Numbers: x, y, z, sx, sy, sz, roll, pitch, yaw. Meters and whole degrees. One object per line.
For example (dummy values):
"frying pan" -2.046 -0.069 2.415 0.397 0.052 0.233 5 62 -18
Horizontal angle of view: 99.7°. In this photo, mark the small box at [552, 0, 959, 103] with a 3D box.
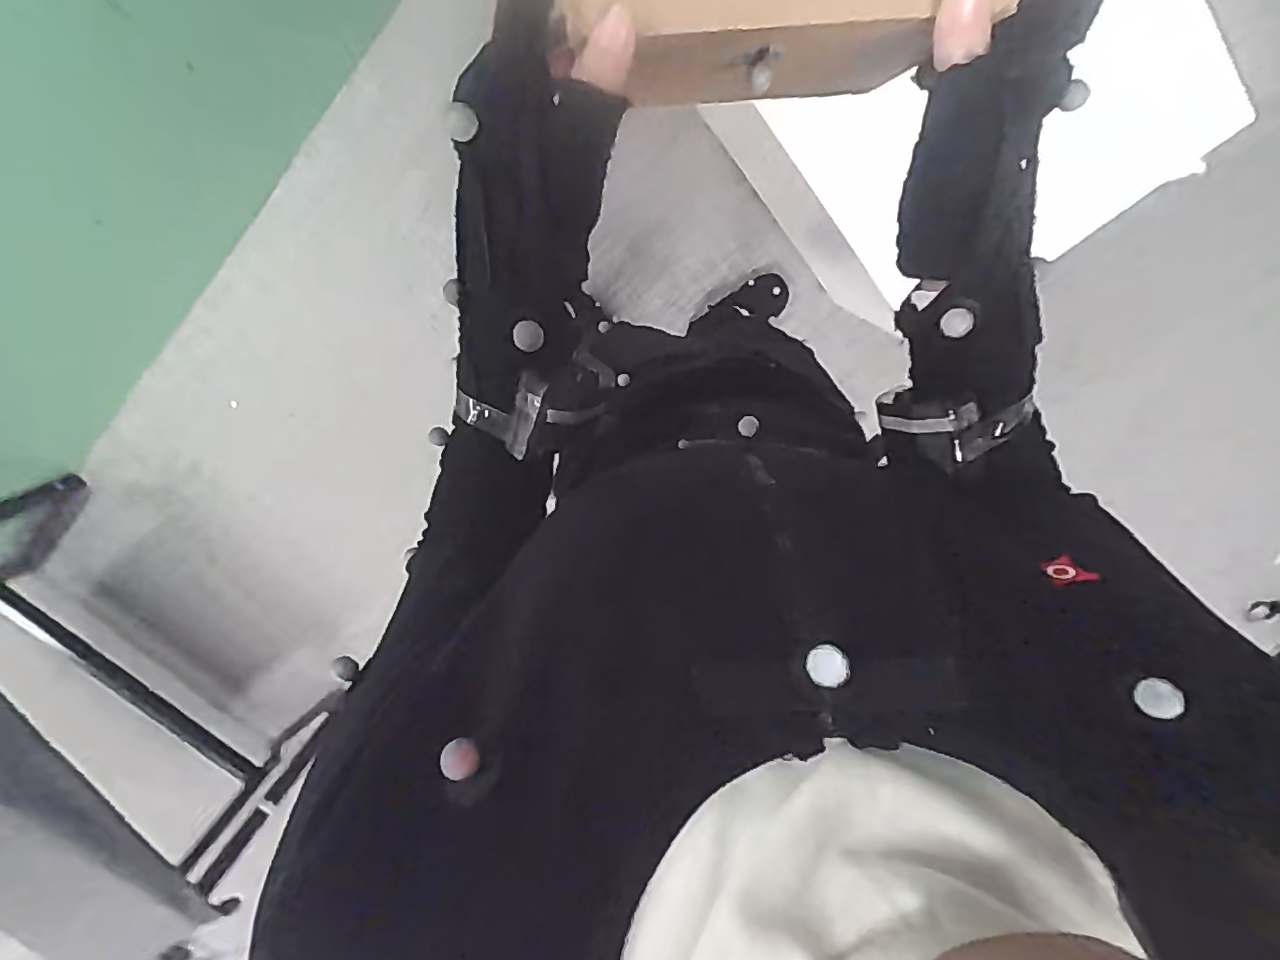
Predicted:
"small box" 0.050 -0.294 0.253 0.179 0.176 0.168 -3 116 3
